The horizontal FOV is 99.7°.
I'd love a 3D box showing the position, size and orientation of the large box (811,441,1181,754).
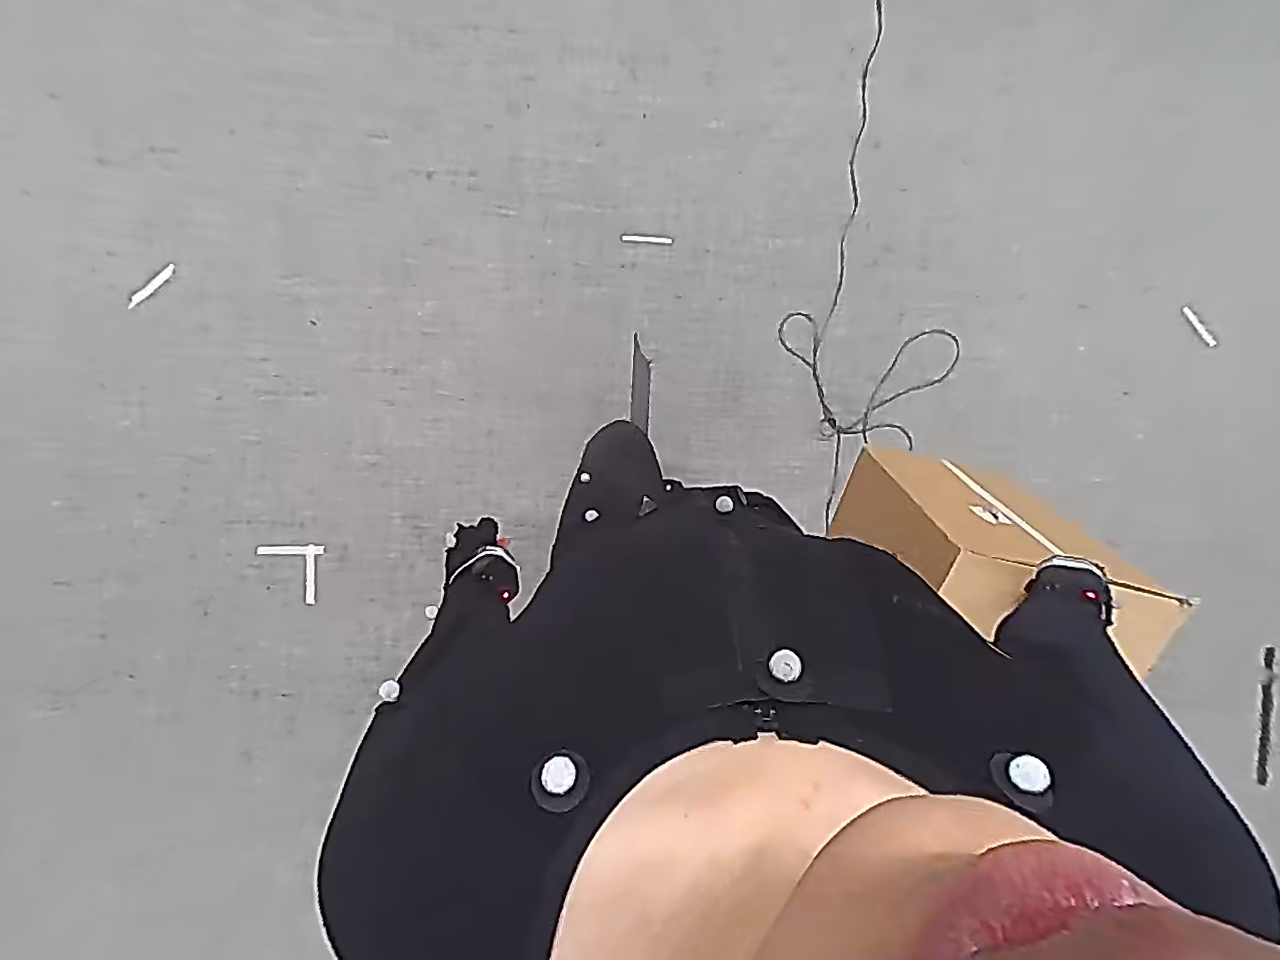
[{"bbox_3d":[0.536,0.175,0.938,0.320,0.408,0.320,13,115,-2],"label":"large box"}]
